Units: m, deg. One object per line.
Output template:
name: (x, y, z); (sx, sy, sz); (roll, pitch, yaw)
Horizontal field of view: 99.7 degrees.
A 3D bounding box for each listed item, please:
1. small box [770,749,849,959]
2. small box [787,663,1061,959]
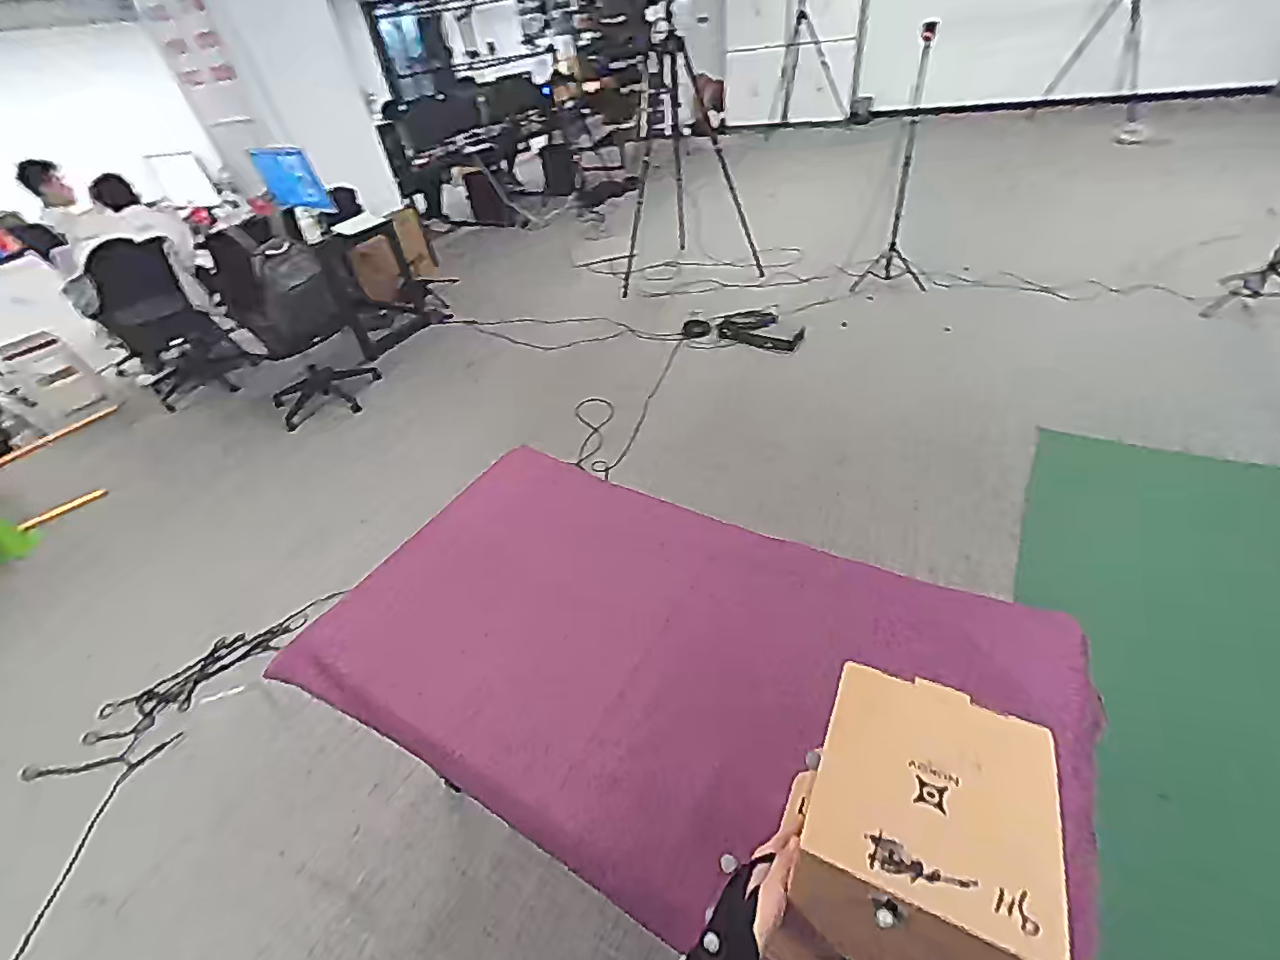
small box: (0.243, 0.431, 0.567); (0.179, 0.176, 0.168); (14, 41, 26)
small box: (0.231, 0.302, 0.466); (0.168, 0.176, 0.179); (13, 40, 26)
